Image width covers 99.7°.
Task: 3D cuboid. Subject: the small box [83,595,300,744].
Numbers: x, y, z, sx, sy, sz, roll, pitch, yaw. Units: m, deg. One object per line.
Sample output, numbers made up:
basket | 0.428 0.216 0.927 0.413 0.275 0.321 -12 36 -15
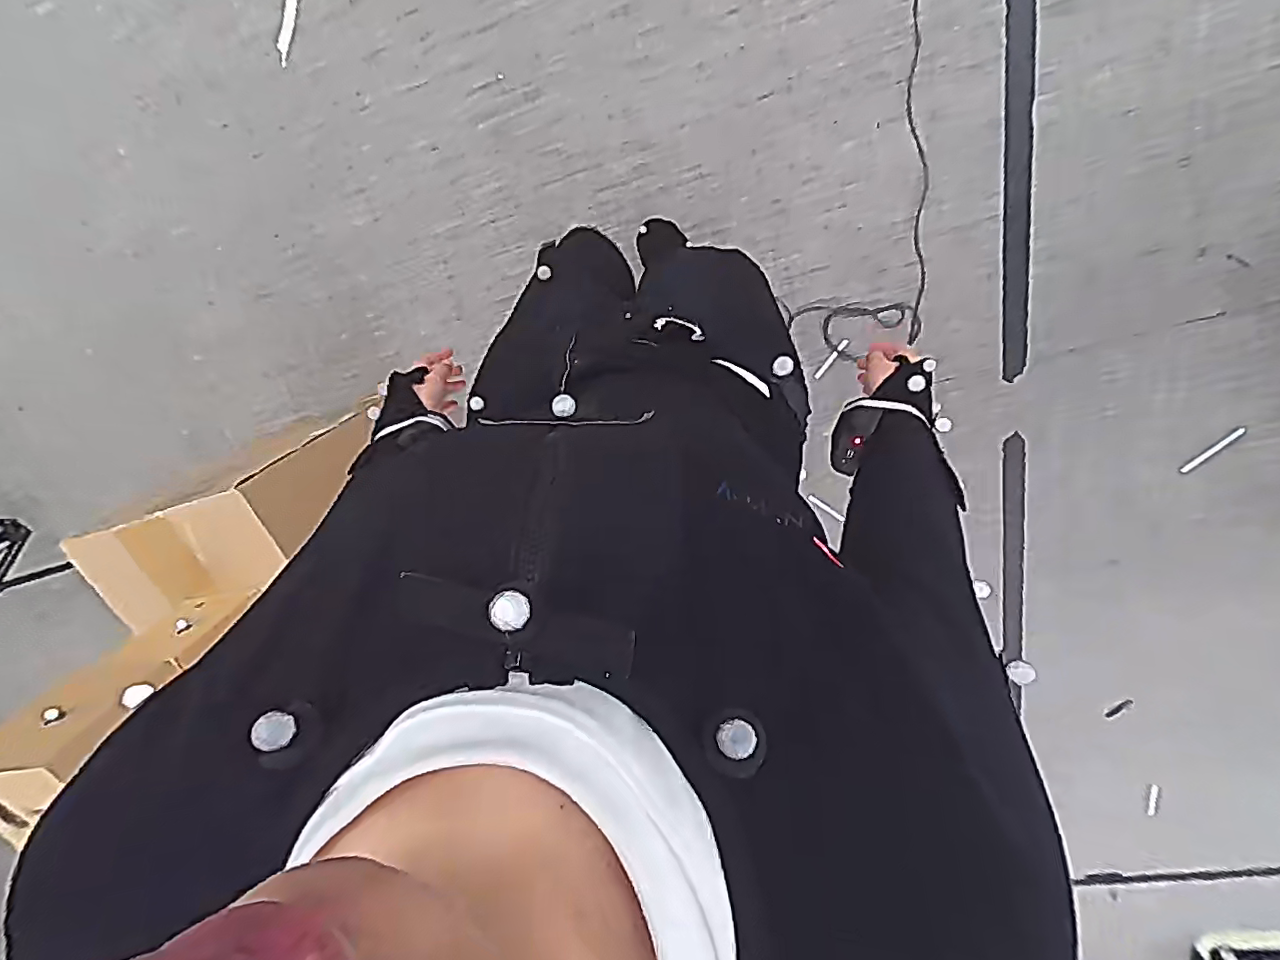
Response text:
small box | -0.711 0.305 0.882 0.168 0.176 0.179 -11 115 11

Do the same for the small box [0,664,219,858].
small box | -0.743 0.376 0.736 0.179 0.176 0.168 -10 116 10
